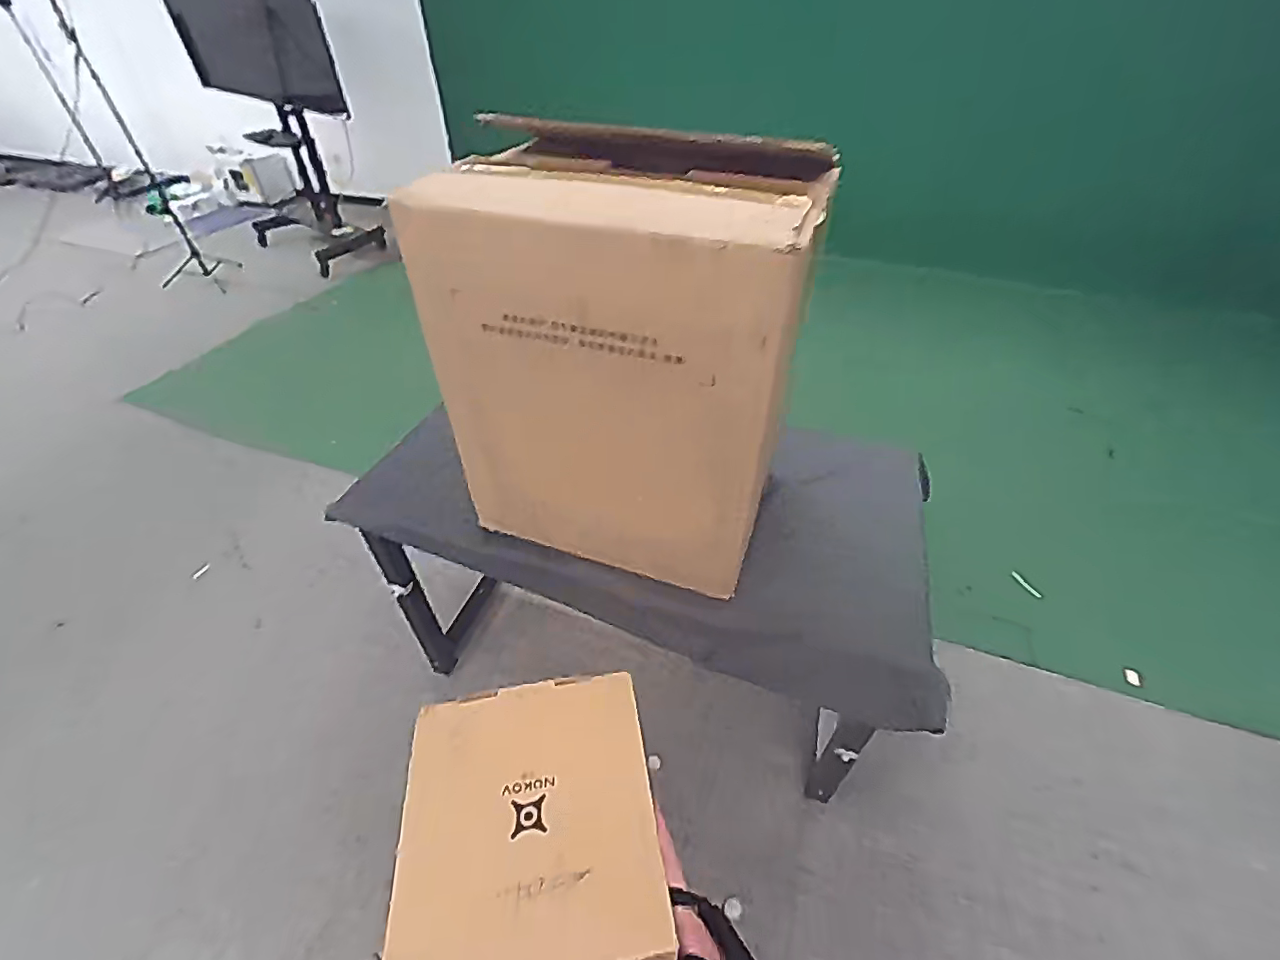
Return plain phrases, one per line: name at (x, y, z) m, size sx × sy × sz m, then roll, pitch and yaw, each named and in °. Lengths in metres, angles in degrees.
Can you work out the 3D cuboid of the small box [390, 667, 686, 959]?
small box at (-0.069, 0.275, 0.407) m, size 0.168 × 0.176 × 0.179 m, roll -9°, pitch 42°, yaw -8°
